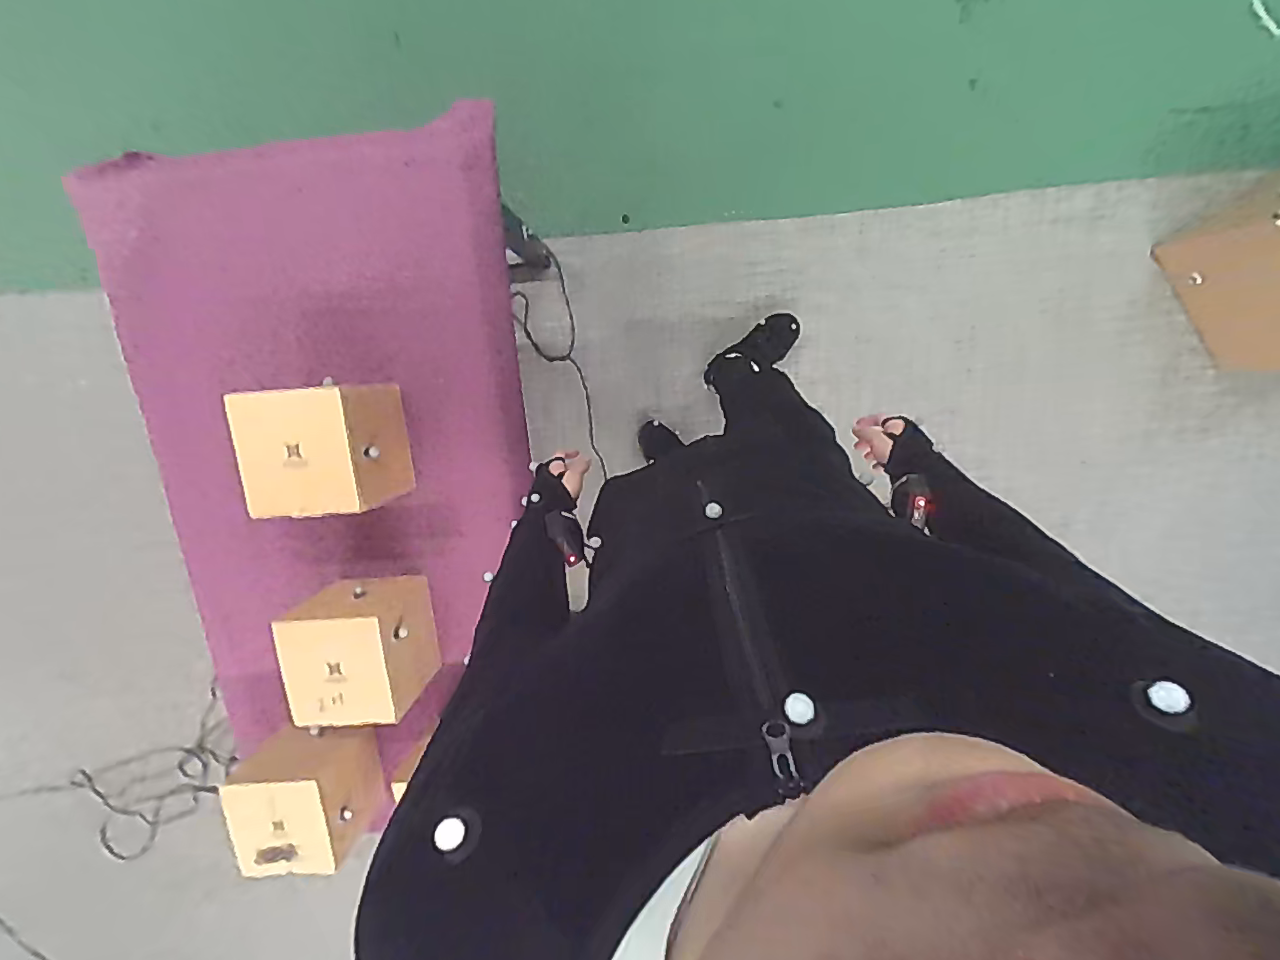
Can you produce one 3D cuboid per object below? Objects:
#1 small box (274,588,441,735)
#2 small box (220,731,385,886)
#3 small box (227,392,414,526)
[{"bbox_3d":[-0.445,0.283,0.880,0.168,0.176,0.179,-4,101,4],"label":"small box"},{"bbox_3d":[-0.571,0.559,0.941,0.168,0.176,0.179,-5,100,3],"label":"small box"},{"bbox_3d":[-0.467,-0.040,0.819,0.168,0.176,0.179,-4,102,3],"label":"small box"}]
